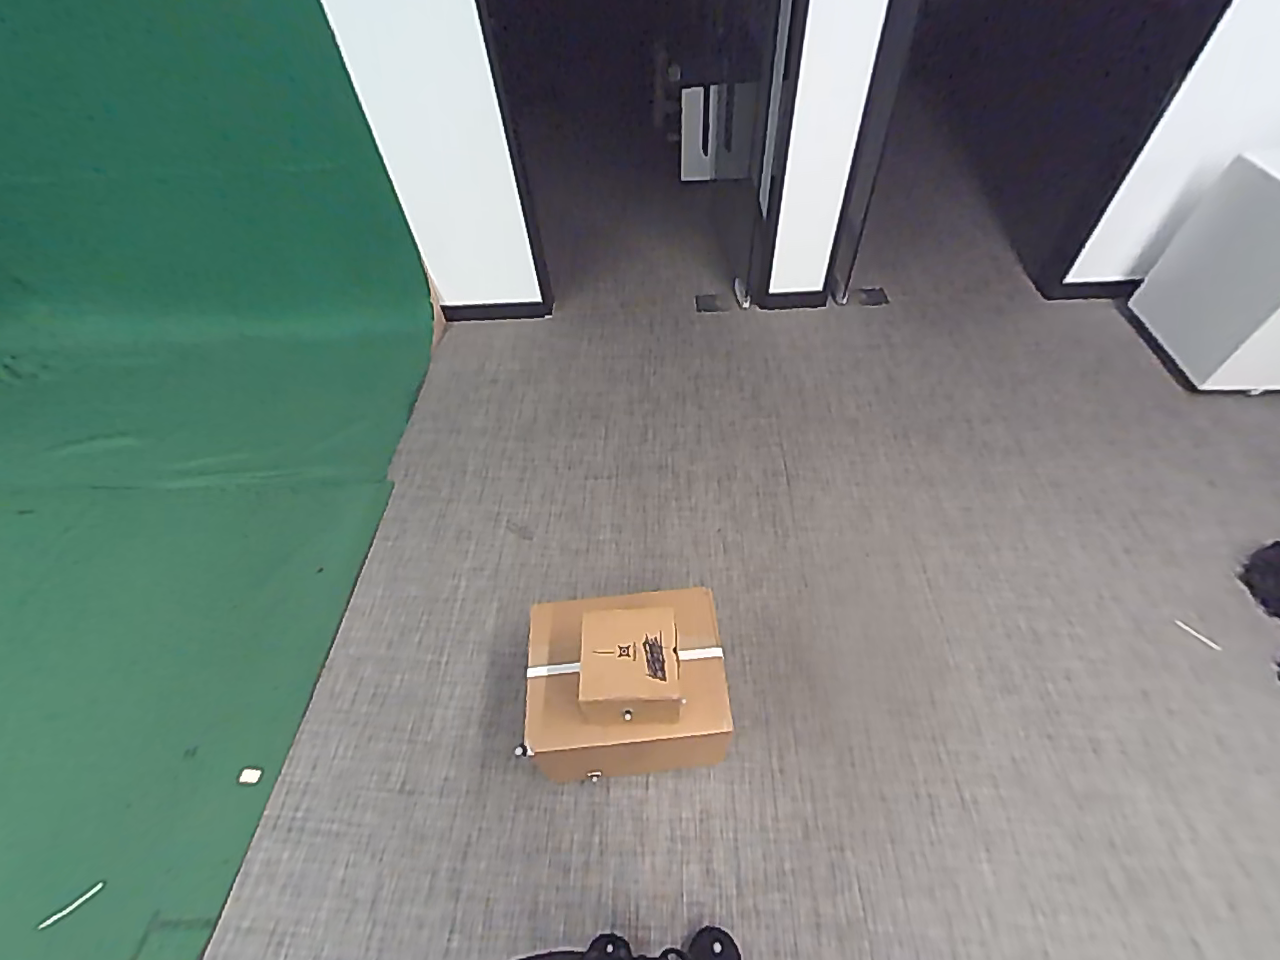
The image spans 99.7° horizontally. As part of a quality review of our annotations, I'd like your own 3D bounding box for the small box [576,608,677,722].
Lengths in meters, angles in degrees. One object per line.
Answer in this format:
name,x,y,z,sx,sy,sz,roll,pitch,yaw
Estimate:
small box,-0.021,0.359,1.040,0.179,0.176,0.168,-3,52,3
